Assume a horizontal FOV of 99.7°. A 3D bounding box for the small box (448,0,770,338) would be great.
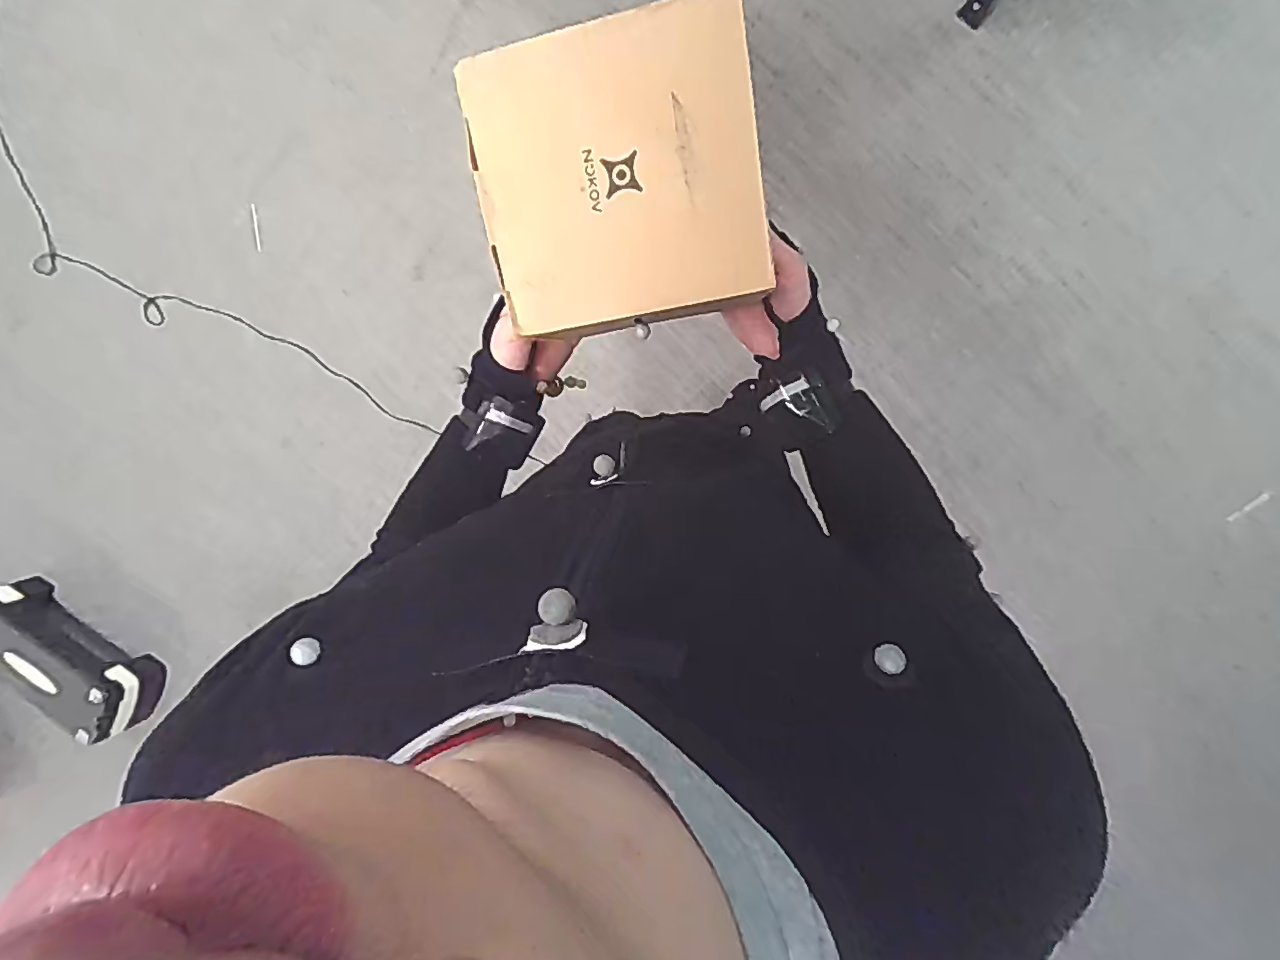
[{"bbox_3d":[-0.007,-0.202,0.402,0.179,0.176,0.168,-9,104,9],"label":"small box"}]
